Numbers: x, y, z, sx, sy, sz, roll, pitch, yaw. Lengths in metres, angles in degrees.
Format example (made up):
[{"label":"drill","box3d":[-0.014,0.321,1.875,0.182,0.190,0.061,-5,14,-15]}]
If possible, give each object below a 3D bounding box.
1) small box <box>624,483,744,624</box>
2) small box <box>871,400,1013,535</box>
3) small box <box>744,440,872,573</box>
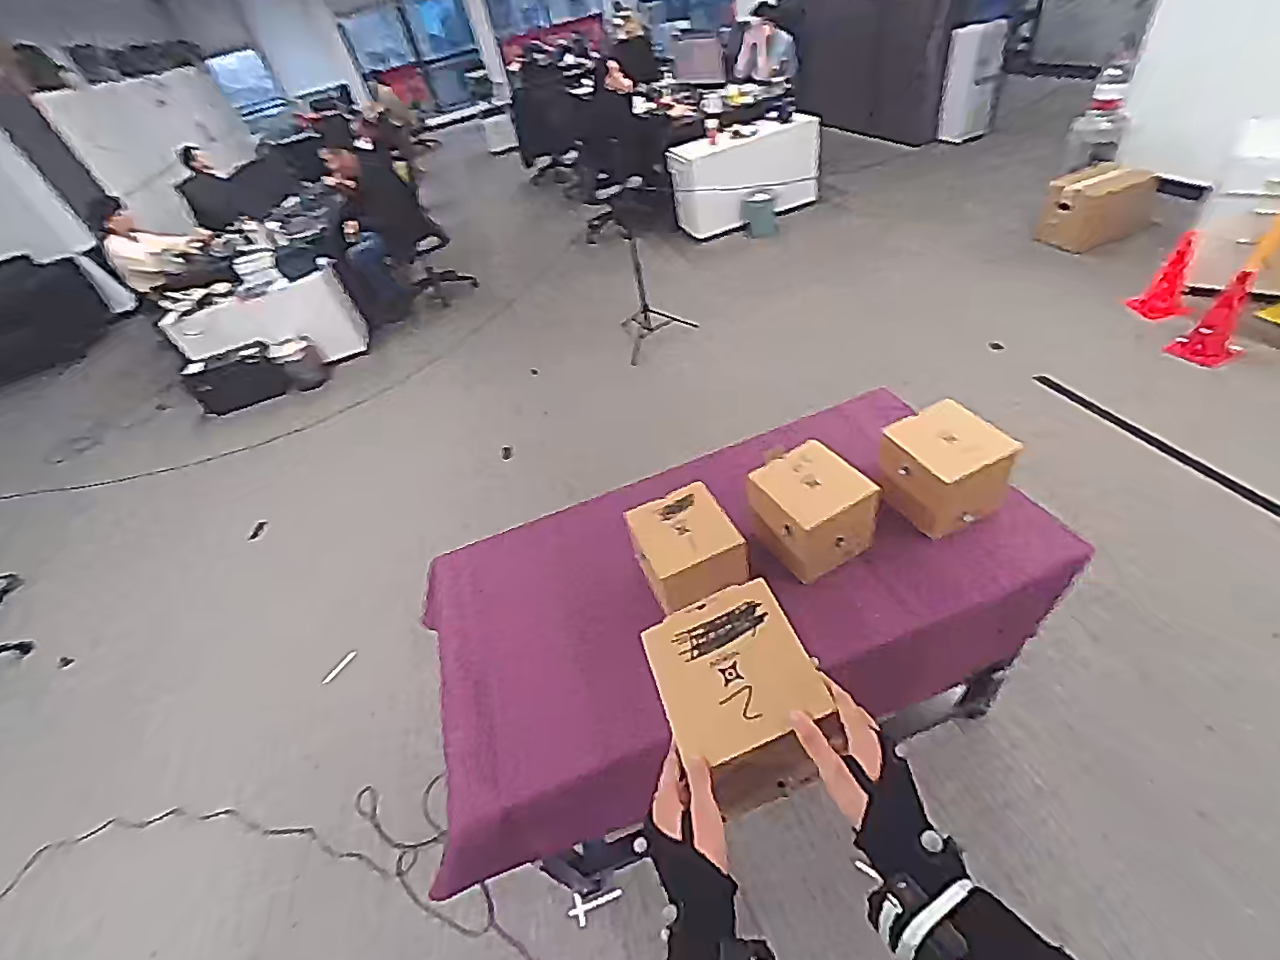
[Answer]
[{"label":"small box","box3d":[0.086,0.143,1.046,0.168,0.176,0.179,-24,44,-9]},{"label":"small box","box3d":[0.585,-0.024,1.075,0.168,0.176,0.179,-24,43,-8]},{"label":"small box","box3d":[0.326,0.059,1.063,0.168,0.176,0.179,-27,44,-13]}]
